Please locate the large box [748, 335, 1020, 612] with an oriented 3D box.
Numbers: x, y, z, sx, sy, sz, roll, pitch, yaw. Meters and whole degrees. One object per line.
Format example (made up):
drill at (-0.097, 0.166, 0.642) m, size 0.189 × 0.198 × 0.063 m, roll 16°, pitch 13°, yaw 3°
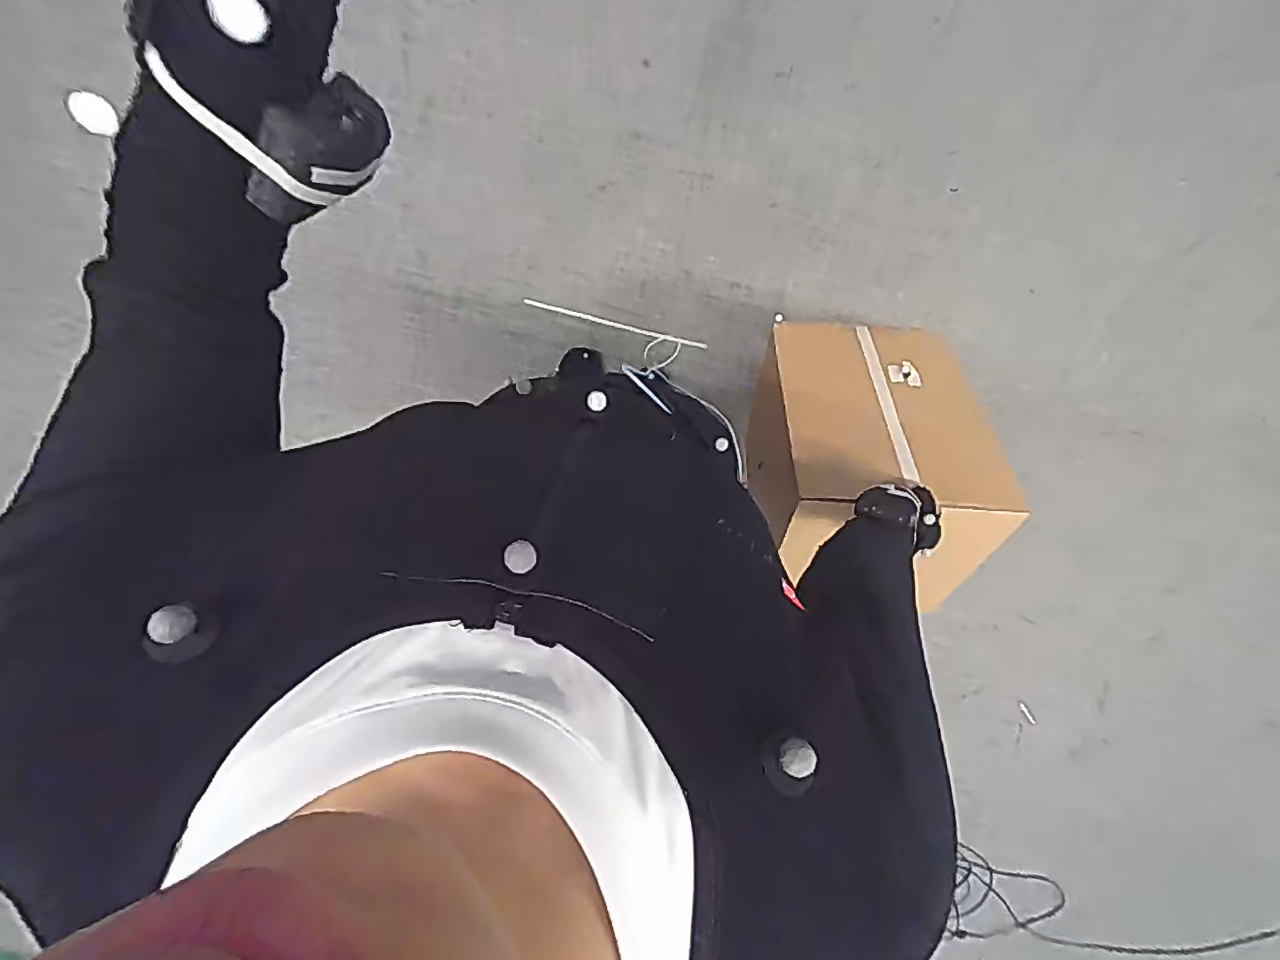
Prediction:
large box at (0.382, -0.011, 0.983) m, size 0.320 × 0.408 × 0.320 m, roll 4°, pitch 140°, yaw 2°
